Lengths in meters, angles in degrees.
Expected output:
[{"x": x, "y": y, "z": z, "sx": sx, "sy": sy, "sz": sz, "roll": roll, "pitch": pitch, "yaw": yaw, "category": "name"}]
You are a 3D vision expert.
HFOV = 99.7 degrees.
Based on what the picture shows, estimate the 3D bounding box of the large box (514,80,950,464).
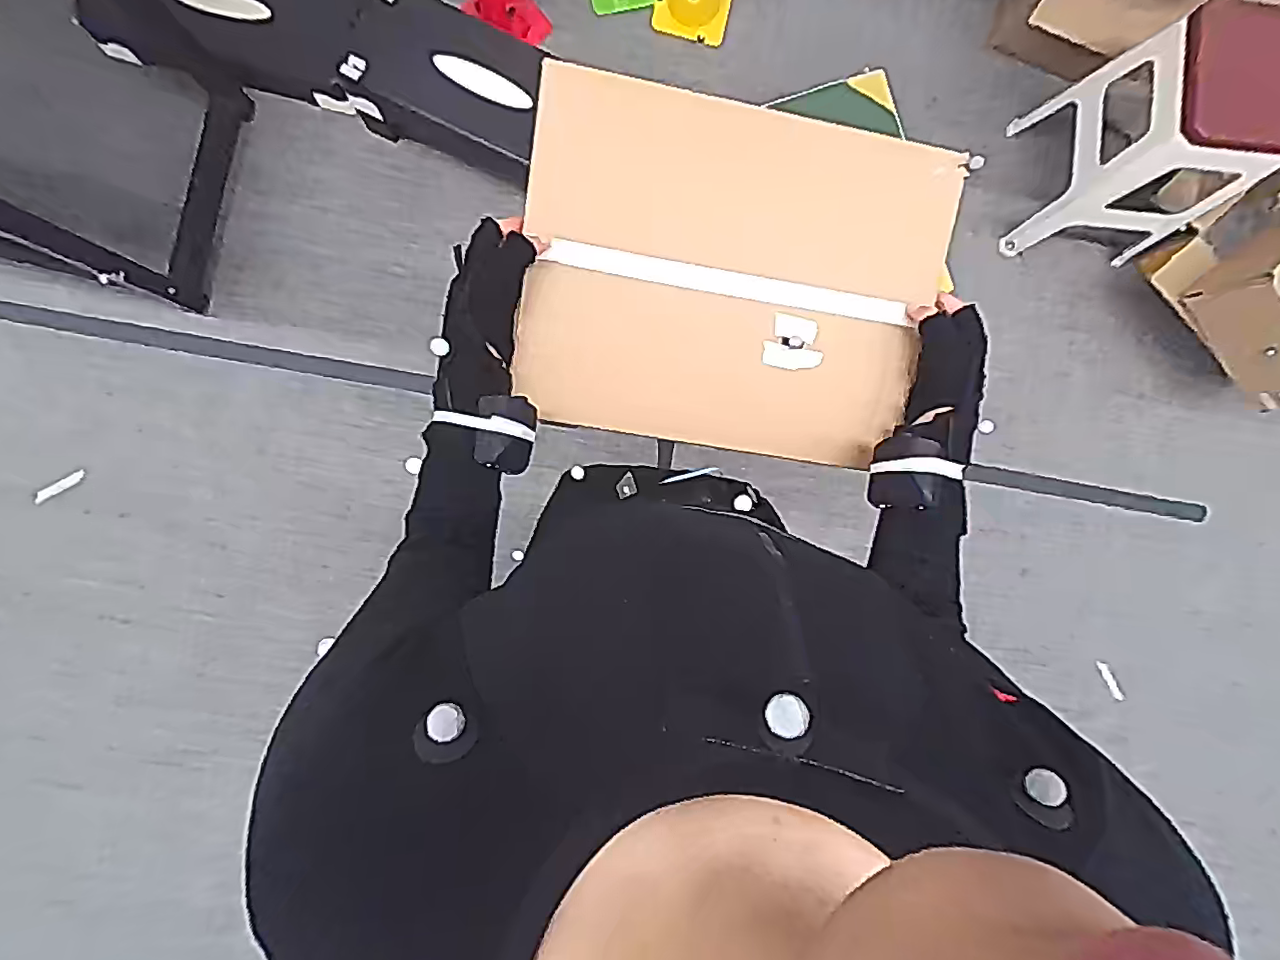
[{"x": 0.075, "y": -0.214, "z": 0.679, "sx": 0.408, "sy": 0.320, "sz": 0.320, "roll": 8, "pitch": 100, "yaw": -7, "category": "large box"}]
